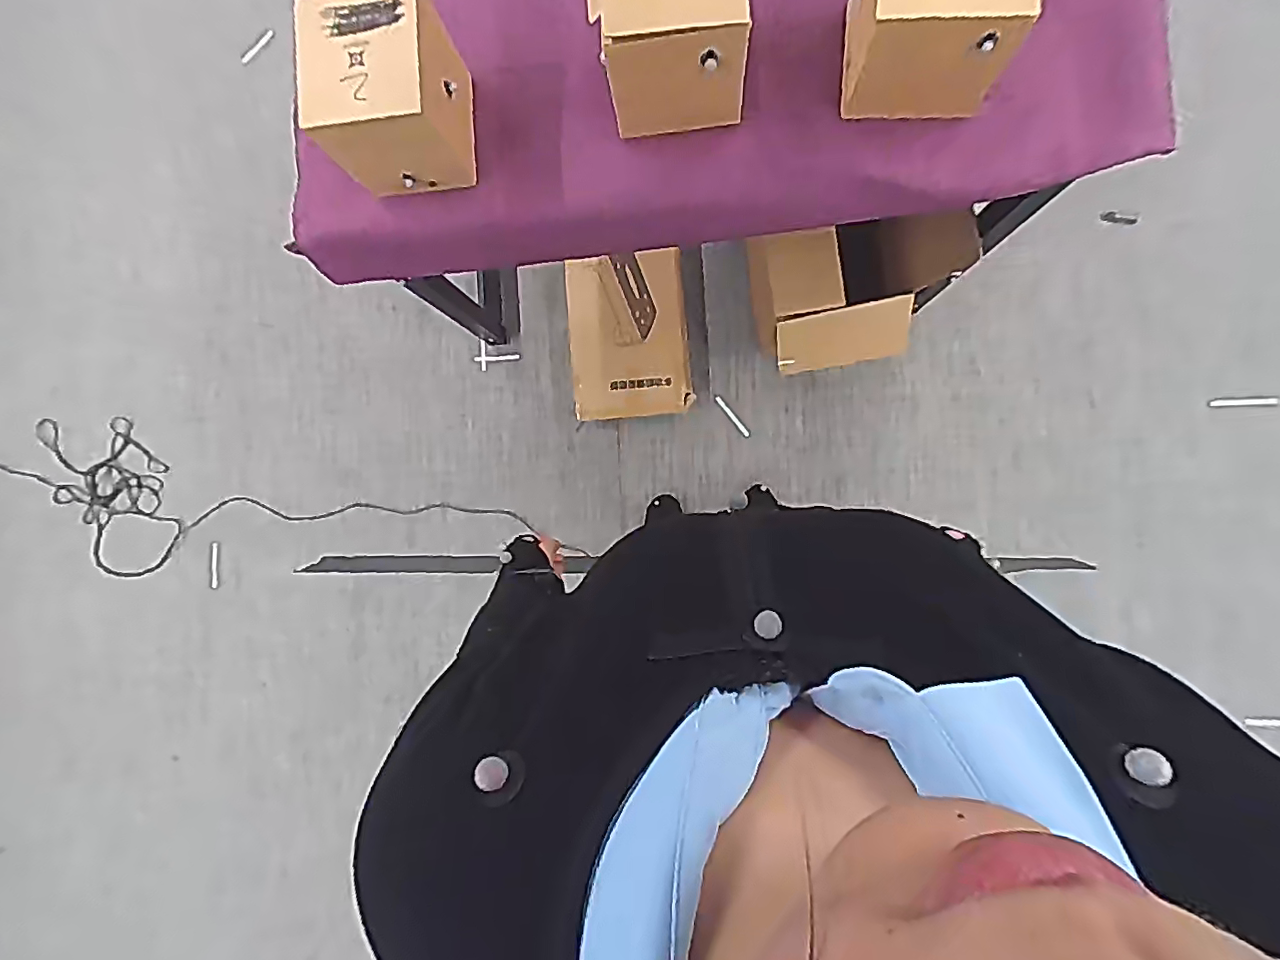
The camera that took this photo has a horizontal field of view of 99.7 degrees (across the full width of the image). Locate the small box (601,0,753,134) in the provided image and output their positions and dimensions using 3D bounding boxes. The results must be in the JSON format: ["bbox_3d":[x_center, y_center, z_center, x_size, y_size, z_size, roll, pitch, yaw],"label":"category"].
[{"bbox_3d":[0.046,-0.591,0.706,0.179,0.176,0.168,-4,86,6],"label":"small box"}]

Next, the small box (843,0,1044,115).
[{"bbox_3d":[0.363,-0.588,0.672,0.179,0.176,0.168,3,89,6],"label":"small box"}]
